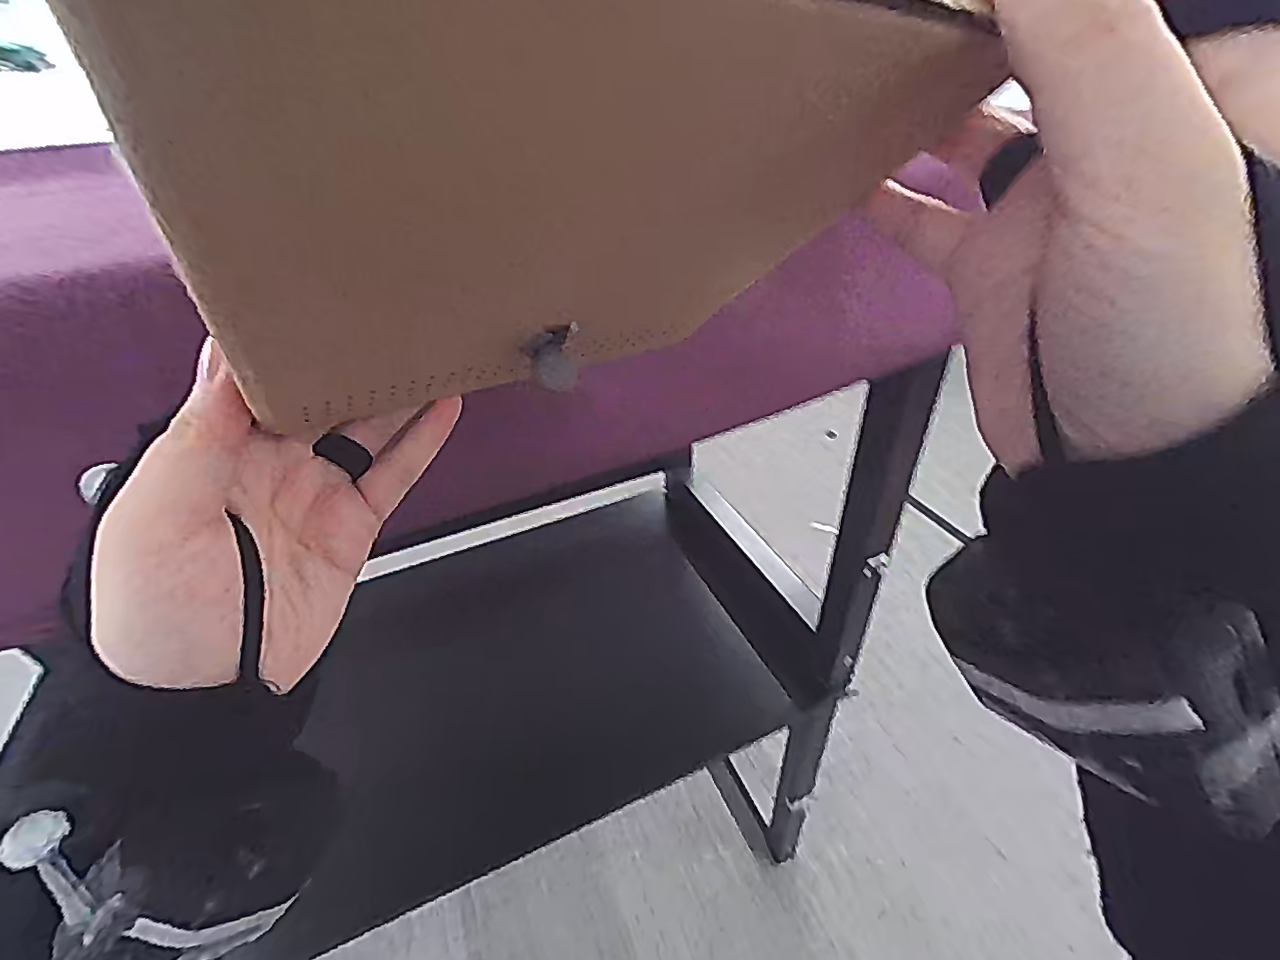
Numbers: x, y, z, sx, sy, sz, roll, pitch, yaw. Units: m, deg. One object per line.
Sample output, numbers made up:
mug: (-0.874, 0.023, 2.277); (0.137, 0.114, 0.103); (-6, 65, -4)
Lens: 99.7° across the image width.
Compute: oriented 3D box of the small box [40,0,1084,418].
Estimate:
small box: (-0.038, -0.129, 0.141); (0.179, 0.168, 0.176); (-21, 1, -31)
